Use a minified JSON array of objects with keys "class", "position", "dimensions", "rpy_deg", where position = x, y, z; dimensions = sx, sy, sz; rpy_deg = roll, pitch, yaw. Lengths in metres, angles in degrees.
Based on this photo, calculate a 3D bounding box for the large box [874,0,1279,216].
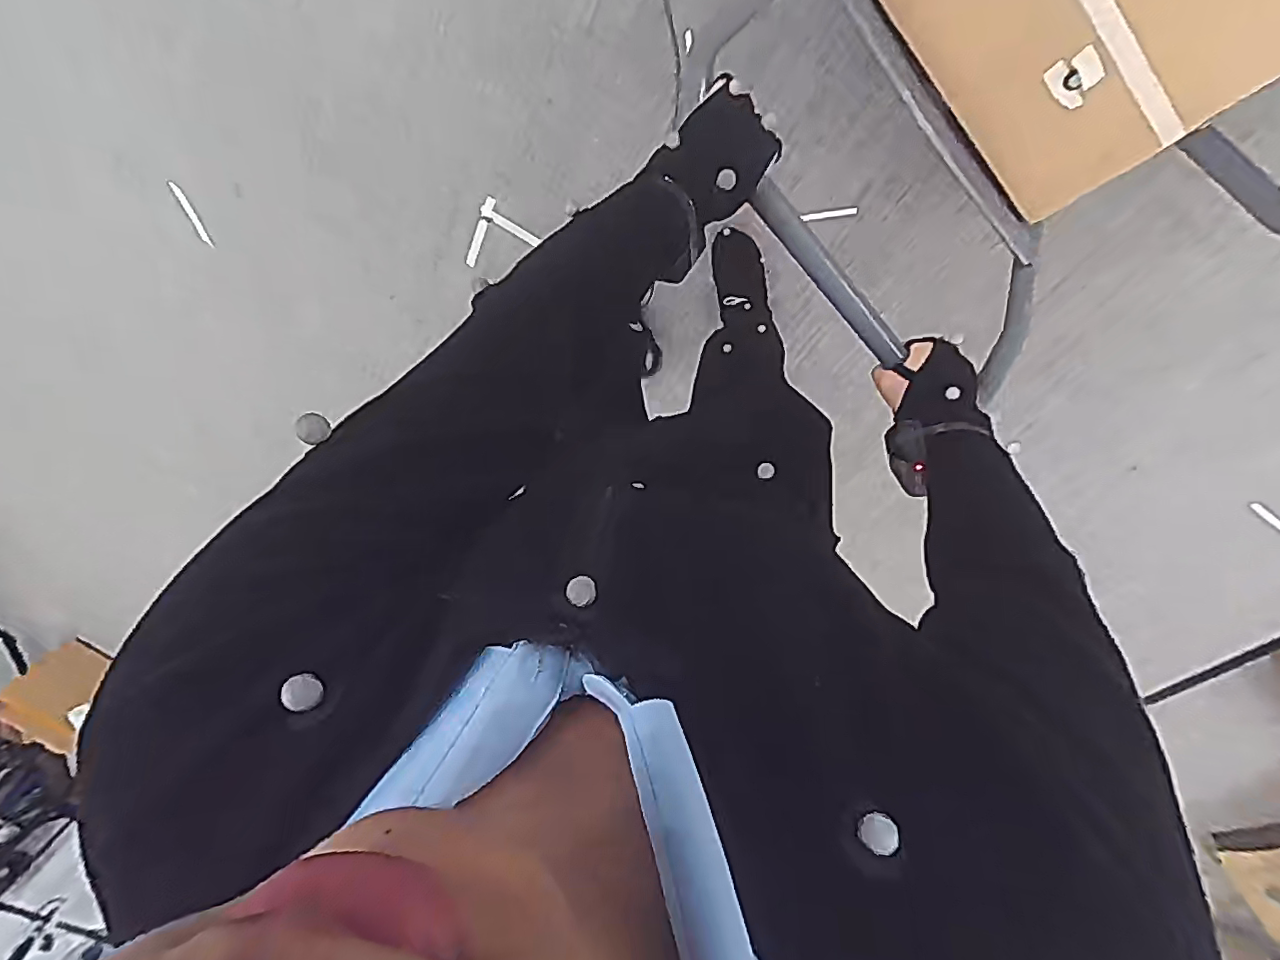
[{"class":"large box","position":[0.557,-0.651,0.690],"dimensions":[0.408,0.320,0.320],"rpy_deg":[42,143,-17]}]
